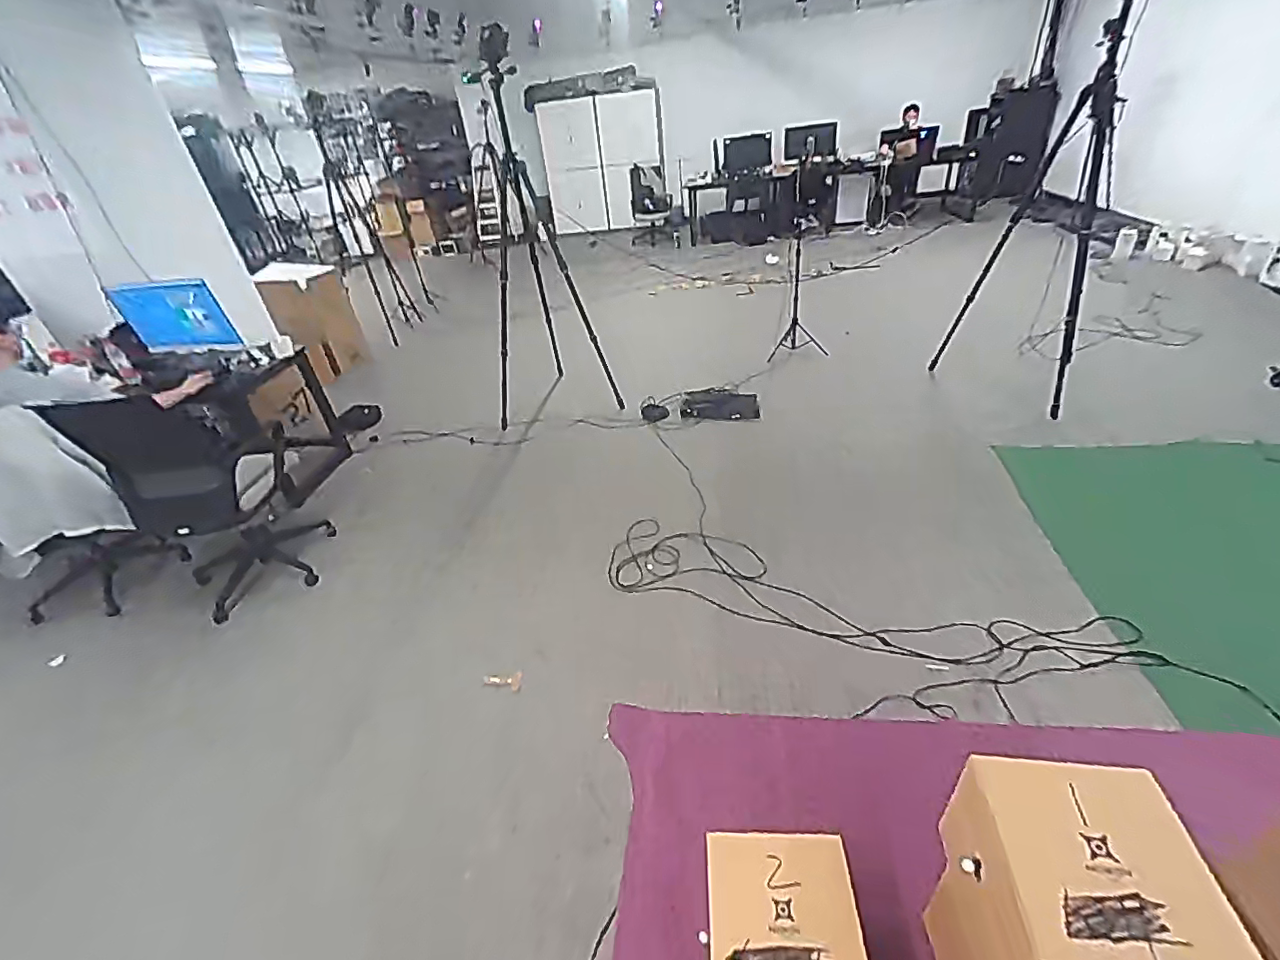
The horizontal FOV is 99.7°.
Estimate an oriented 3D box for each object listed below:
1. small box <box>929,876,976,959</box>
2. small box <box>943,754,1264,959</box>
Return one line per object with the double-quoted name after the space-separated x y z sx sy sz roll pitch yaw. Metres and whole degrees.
0.439 0.553 0.589 0.168 0.176 0.179 -2 35 7 "small box"
0.418 0.400 0.523 0.168 0.176 0.179 0 34 11 "small box"
